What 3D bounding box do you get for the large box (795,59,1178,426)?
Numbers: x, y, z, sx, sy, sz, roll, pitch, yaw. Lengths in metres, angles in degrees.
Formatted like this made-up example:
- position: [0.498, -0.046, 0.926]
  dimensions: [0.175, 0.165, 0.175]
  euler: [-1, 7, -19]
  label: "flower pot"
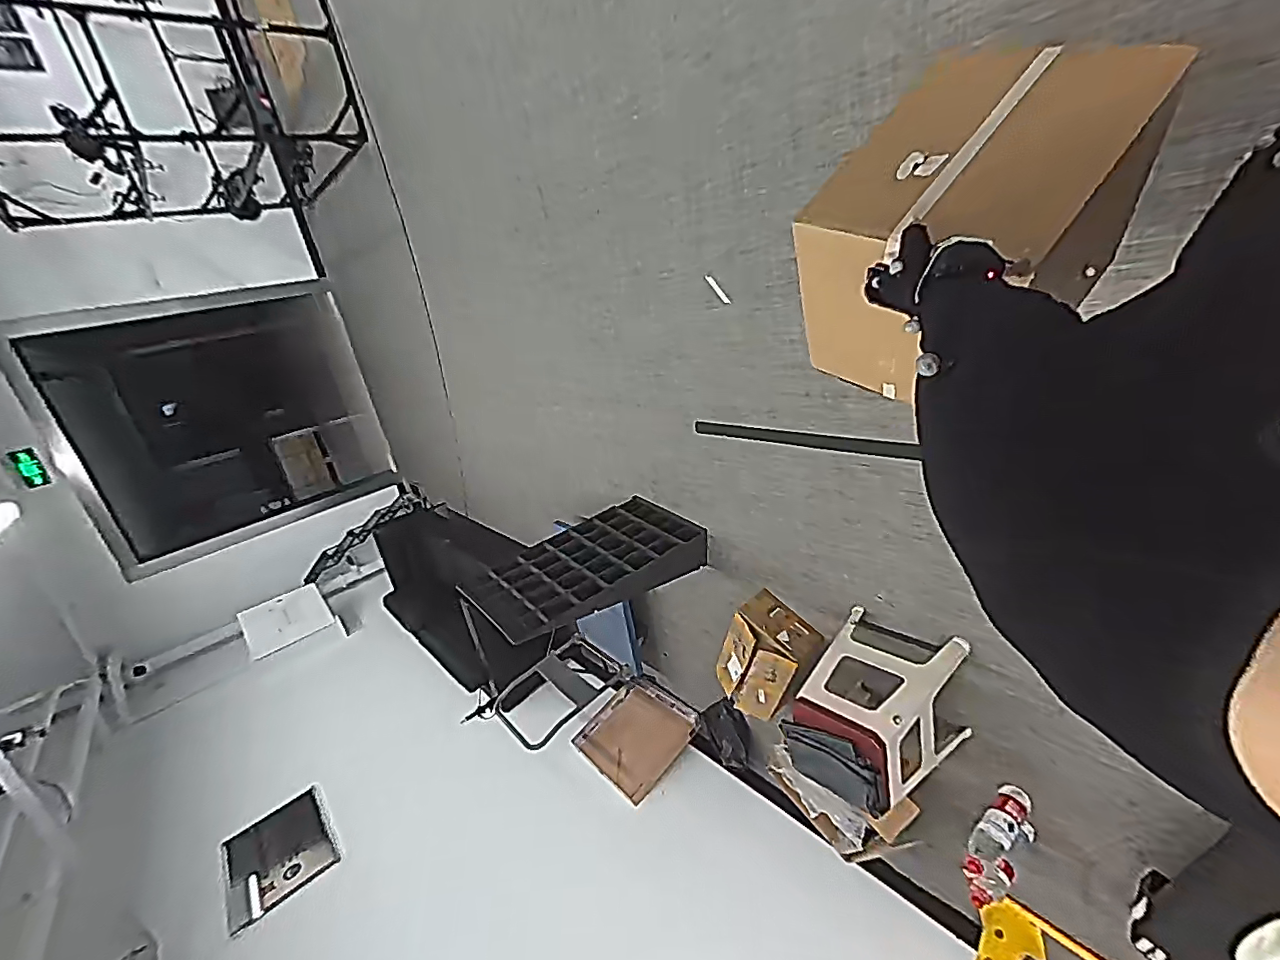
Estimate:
- position: [0.503, -0.366, 0.845]
  dimensions: [0.320, 0.408, 0.320]
  euler: [33, 168, 37]
  label: "large box"
